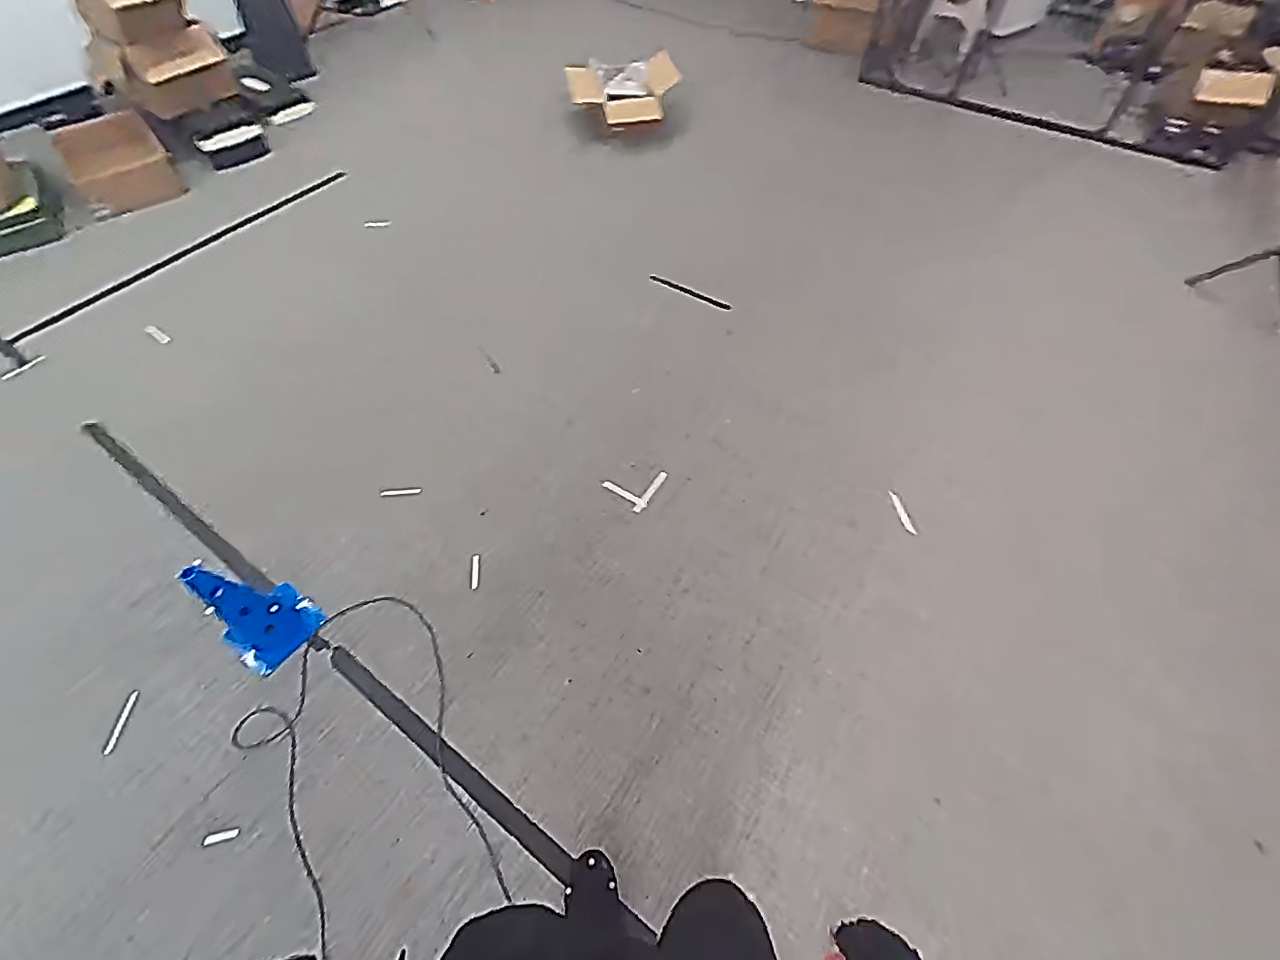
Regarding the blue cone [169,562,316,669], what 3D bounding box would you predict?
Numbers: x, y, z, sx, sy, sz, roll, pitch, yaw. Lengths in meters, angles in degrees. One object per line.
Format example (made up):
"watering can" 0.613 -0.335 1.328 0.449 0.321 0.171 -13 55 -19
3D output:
"blue cone" -0.990 0.299 1.314 0.192 0.380 0.193 30 61 18
